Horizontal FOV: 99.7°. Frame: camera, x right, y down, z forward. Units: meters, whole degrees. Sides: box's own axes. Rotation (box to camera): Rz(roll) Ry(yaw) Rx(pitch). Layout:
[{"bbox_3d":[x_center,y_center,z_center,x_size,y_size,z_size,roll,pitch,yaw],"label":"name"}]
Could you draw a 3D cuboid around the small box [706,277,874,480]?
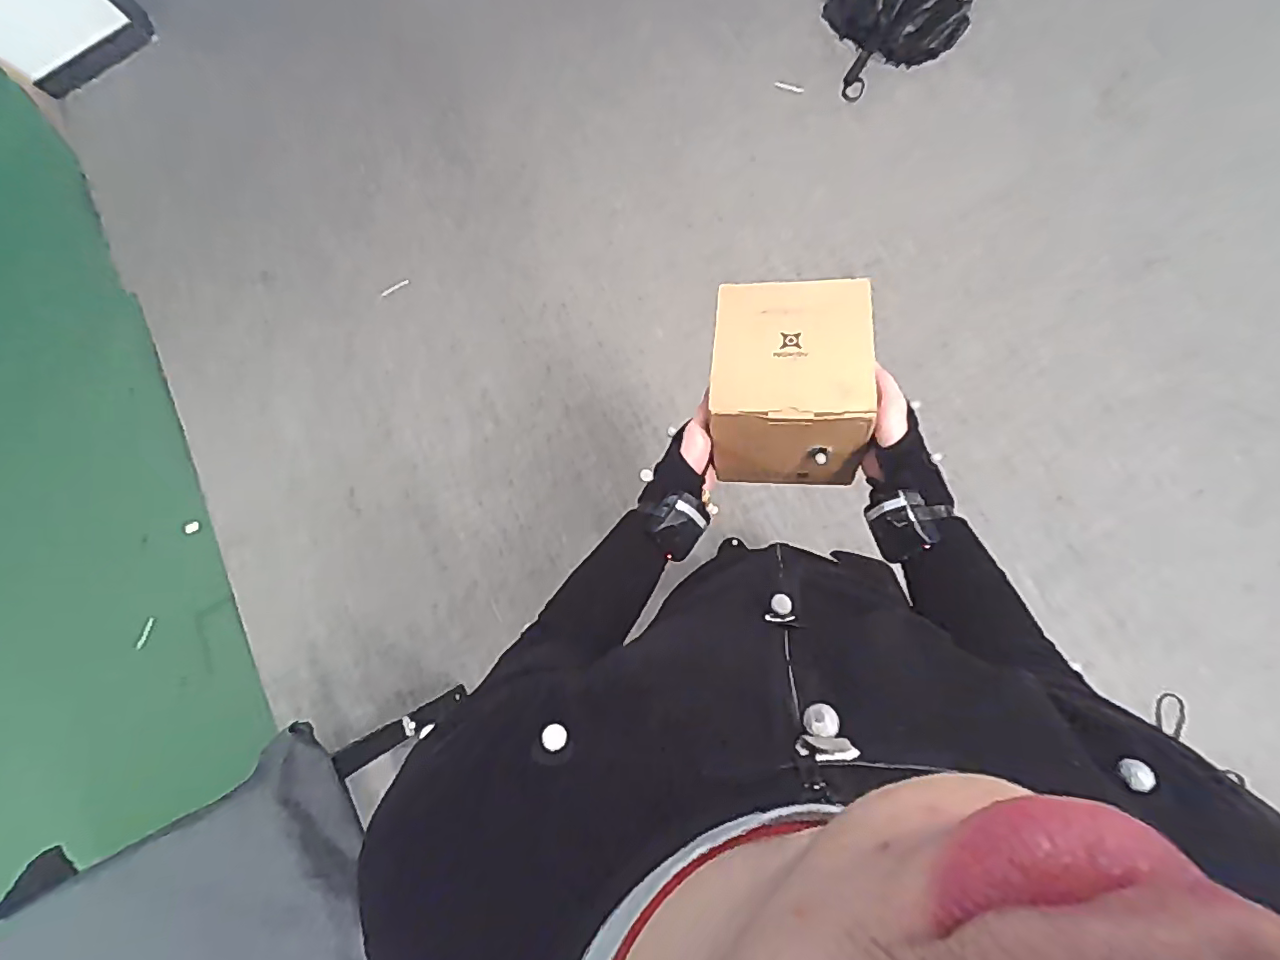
[{"bbox_3d":[0.171,-0.111,0.642,0.168,0.176,0.179,2,64,11],"label":"small box"}]
